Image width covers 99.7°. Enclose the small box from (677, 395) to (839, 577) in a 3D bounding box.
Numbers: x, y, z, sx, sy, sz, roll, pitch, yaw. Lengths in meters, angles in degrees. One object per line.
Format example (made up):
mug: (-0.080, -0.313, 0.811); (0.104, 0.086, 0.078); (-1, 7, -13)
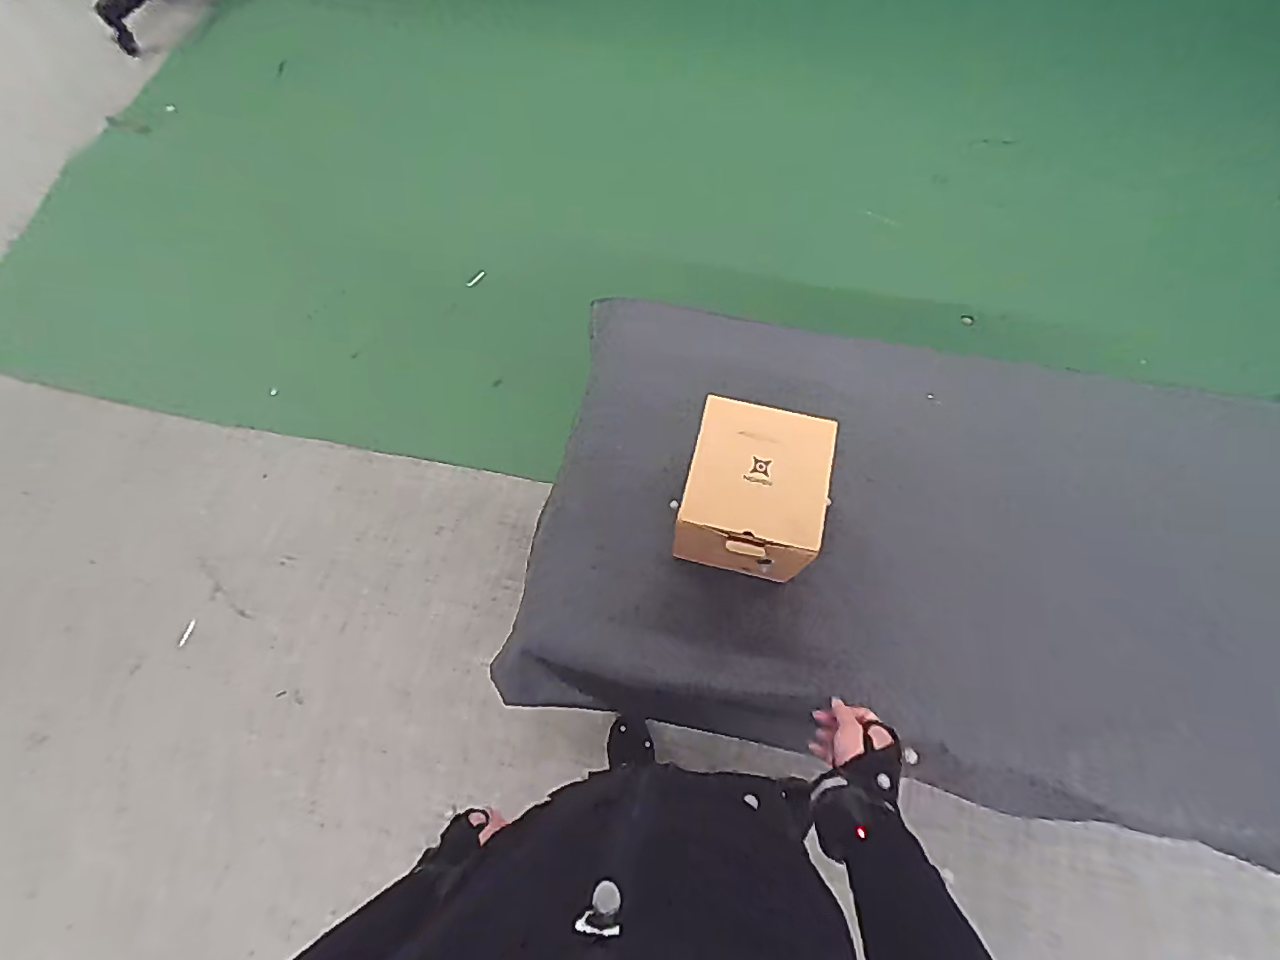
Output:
small box: (0.149, 0.018, 0.726); (0.168, 0.176, 0.179); (14, 68, 5)
